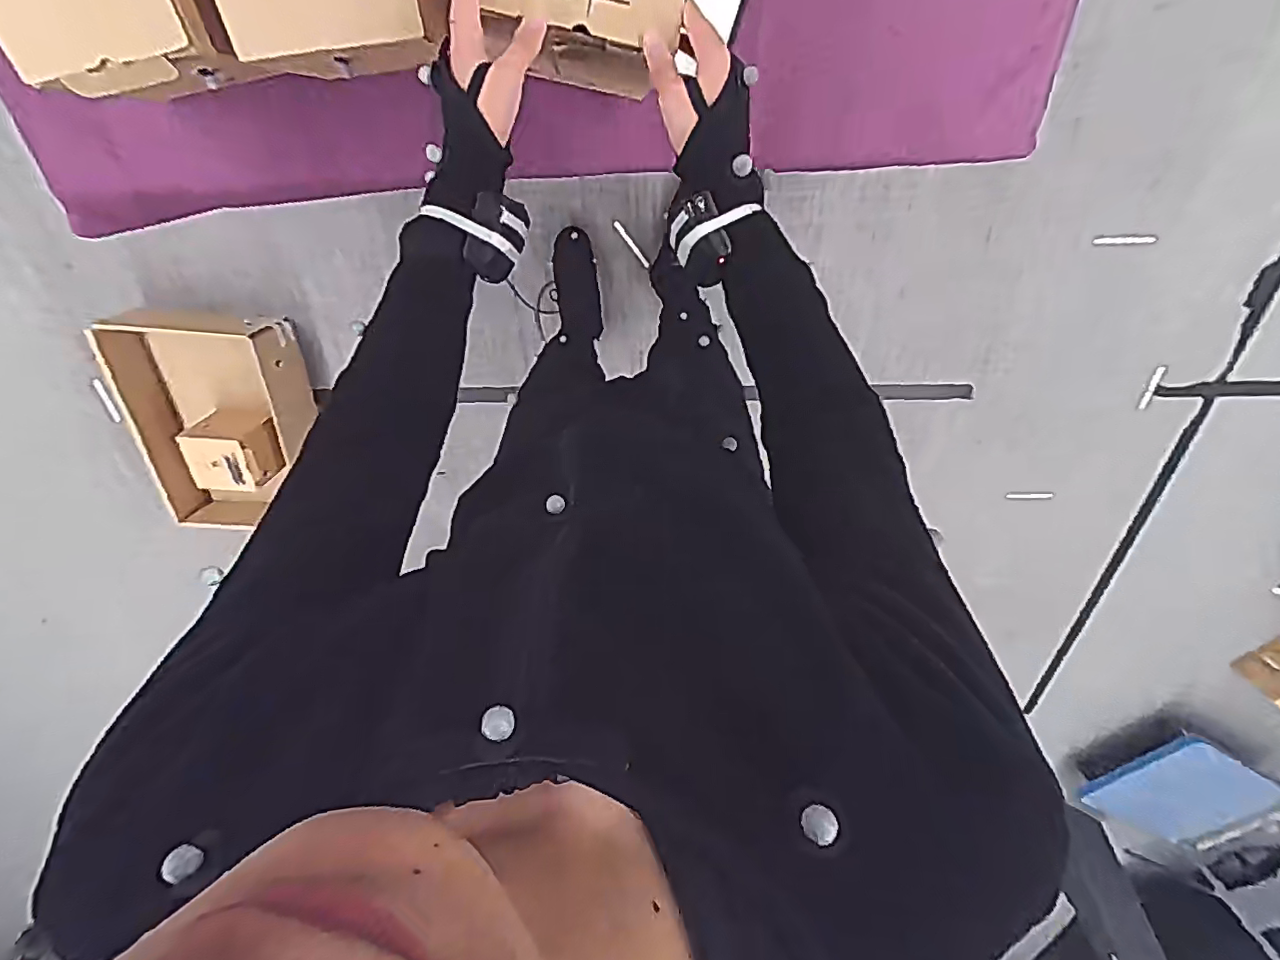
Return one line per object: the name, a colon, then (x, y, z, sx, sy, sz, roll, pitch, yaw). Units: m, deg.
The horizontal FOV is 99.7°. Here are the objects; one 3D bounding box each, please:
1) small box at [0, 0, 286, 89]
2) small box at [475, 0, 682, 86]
small box: (-0.484, -0.486, 0.507, 0.168, 0.176, 0.179, -8, 122, 4)
small box: (-0.049, -0.475, 0.471, 0.168, 0.176, 0.179, 4, 113, -13)
